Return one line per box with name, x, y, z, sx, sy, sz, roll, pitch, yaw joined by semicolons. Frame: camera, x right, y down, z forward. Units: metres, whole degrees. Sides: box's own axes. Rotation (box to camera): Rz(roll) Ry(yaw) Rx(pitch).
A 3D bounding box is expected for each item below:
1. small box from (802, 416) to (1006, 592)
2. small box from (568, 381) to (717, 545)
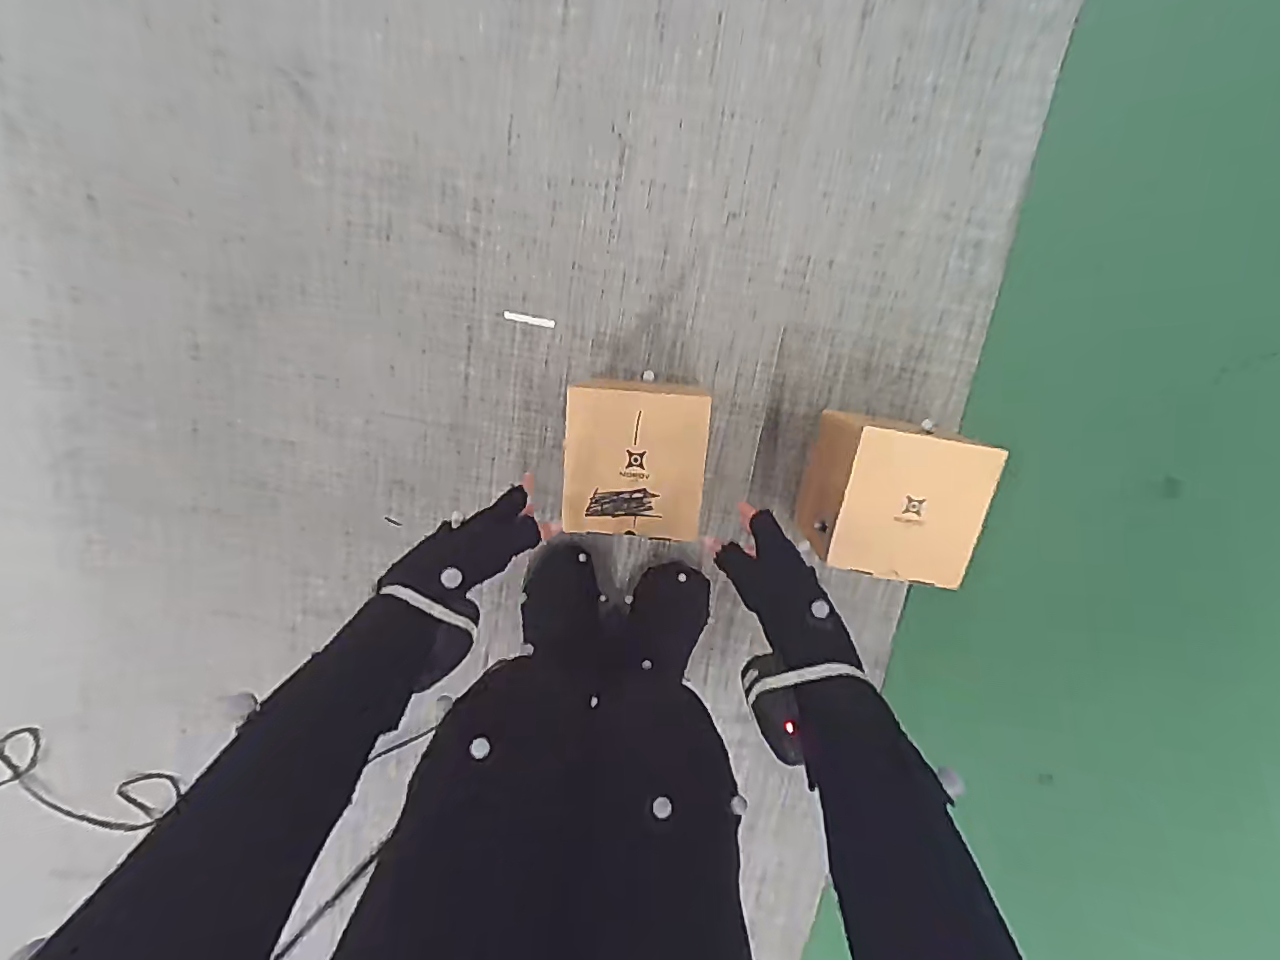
small box;0.324;0.019;0.708;0.168;0.176;0.179;10;104;1
small box;0.005;-0.031;0.710;0.168;0.176;0.179;5;103;1
